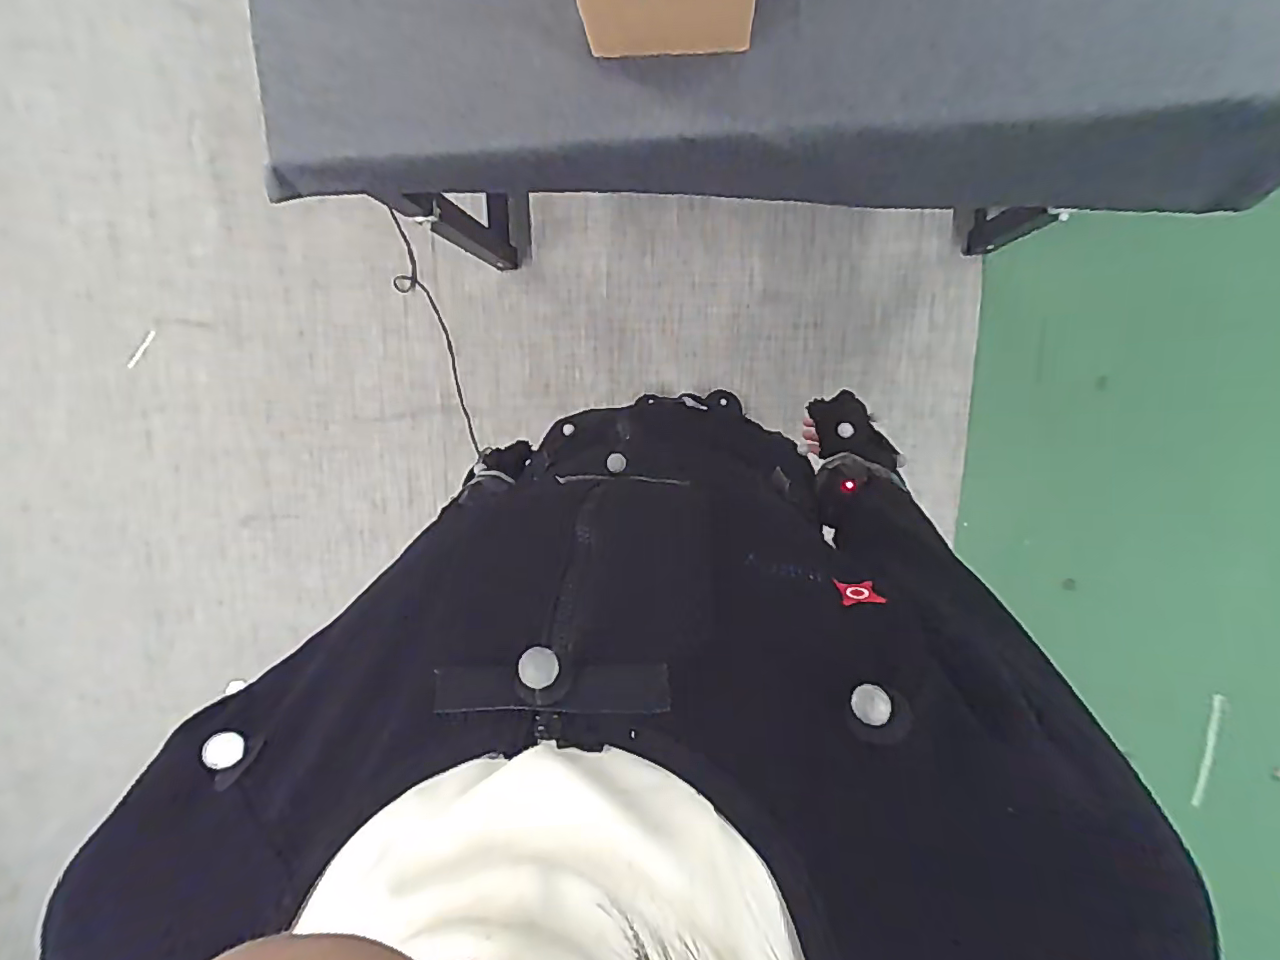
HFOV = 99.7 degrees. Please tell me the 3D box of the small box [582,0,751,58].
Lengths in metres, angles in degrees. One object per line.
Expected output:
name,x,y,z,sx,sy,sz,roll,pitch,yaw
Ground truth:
small box,0.027,-0.553,0.532,0.179,0.176,0.168,2,100,5
